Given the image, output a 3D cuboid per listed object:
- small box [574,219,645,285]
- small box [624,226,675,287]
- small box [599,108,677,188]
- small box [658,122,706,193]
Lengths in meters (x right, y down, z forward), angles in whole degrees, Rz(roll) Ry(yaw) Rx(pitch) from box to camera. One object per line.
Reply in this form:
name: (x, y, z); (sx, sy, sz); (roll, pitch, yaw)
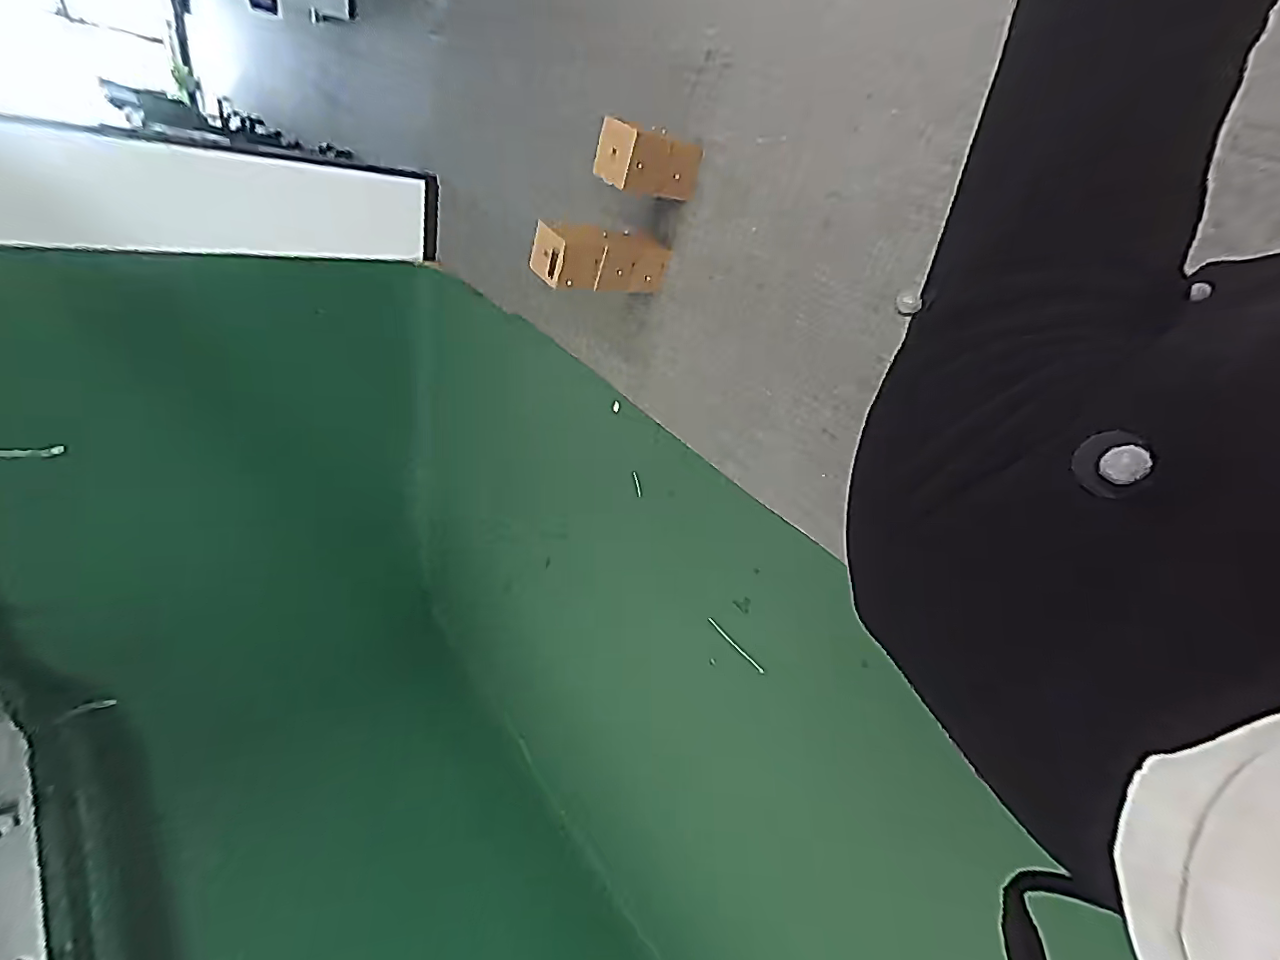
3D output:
small box: (-0.110, -0.834, 1.983); (0.179, 0.176, 0.168); (47, 132, 27)
small box: (0.008, -0.867, 2.094); (0.179, 0.176, 0.168); (46, 133, 29)
small box: (-0.005, -1.086, 1.781); (0.168, 0.176, 0.179); (45, 132, 28)
small box: (0.106, -1.128, 1.894); (0.168, 0.176, 0.179); (43, 132, 29)
